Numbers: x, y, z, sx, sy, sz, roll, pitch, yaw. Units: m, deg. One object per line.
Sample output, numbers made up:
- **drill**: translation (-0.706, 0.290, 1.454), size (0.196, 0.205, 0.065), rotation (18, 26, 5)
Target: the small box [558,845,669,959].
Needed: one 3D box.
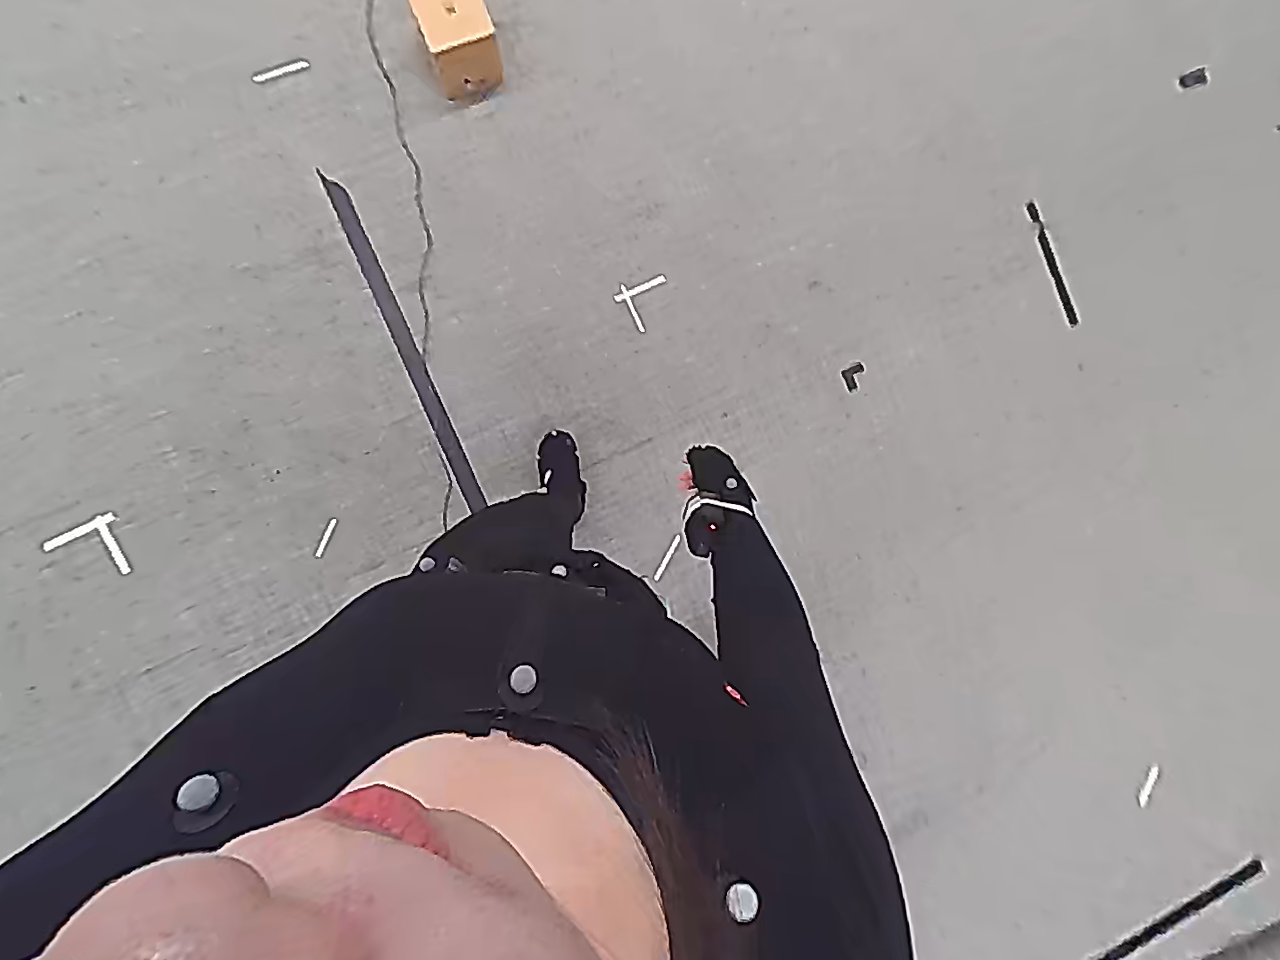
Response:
- **small box**: translation (-0.053, 0.875, 1.071), size (0.179, 0.176, 0.168), rotation (-19, 93, -5)

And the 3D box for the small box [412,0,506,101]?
- **small box**: translation (-0.456, -1.121, 1.372), size (0.168, 0.176, 0.179), rotation (-22, 93, -5)
